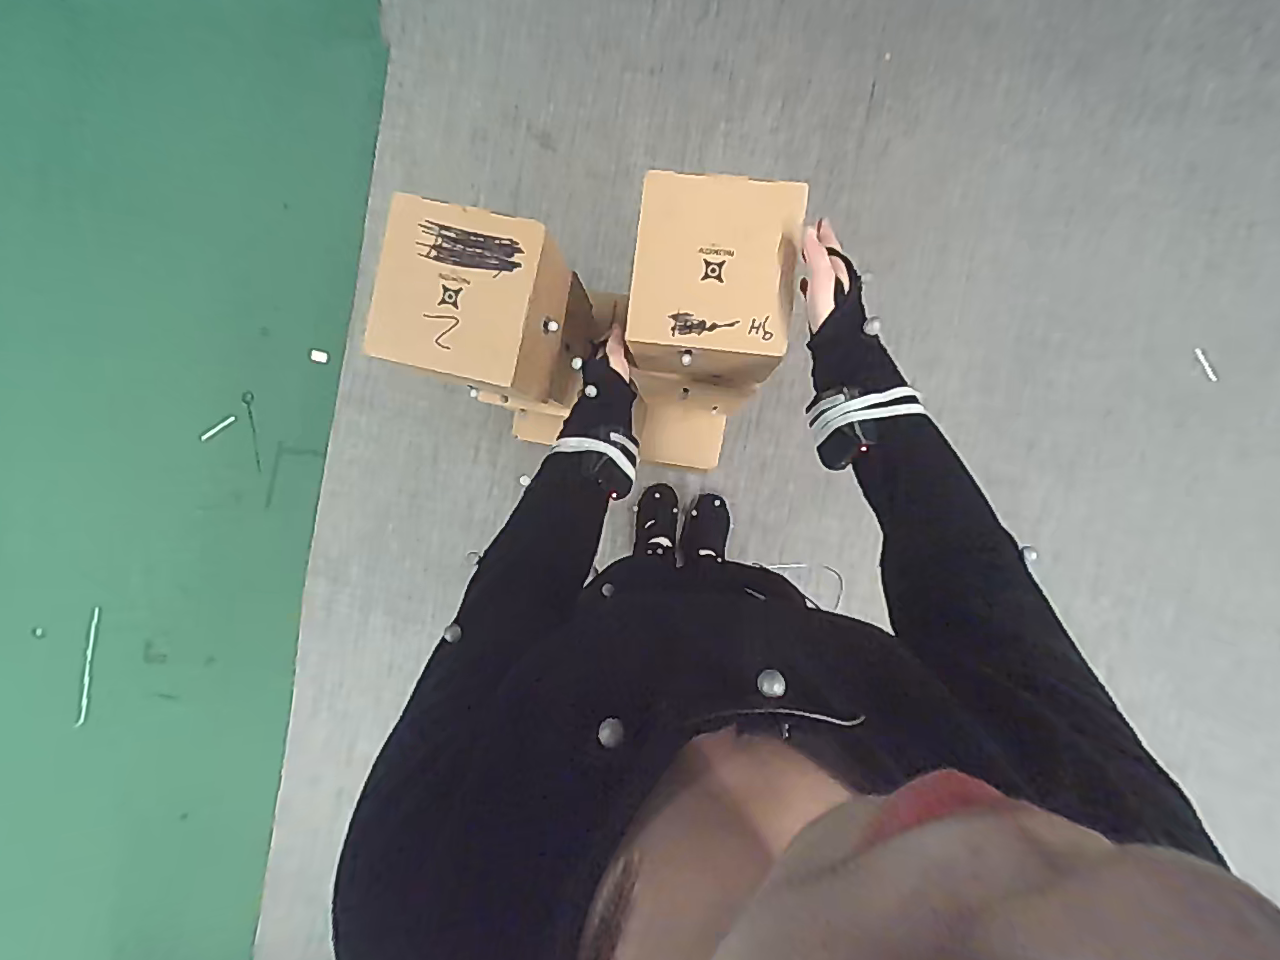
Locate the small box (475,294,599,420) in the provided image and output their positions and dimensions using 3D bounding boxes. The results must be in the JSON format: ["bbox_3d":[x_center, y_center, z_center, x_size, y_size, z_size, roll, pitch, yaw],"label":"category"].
[{"bbox_3d":[-0.175,-0.209,0.968,0.168,0.176,0.179,11,93,2],"label":"small box"}]

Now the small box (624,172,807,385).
[{"bbox_3d":[0.081,-0.217,0.624,0.168,0.176,0.179,8,92,5],"label":"small box"}]

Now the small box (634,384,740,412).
[{"bbox_3d":[0.094,-0.217,0.951,0.179,0.176,0.168,9,92,5],"label":"small box"}]

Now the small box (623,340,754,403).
[{"bbox_3d":[0.083,-0.211,0.788,0.179,0.176,0.168,11,92,5],"label":"small box"}]
